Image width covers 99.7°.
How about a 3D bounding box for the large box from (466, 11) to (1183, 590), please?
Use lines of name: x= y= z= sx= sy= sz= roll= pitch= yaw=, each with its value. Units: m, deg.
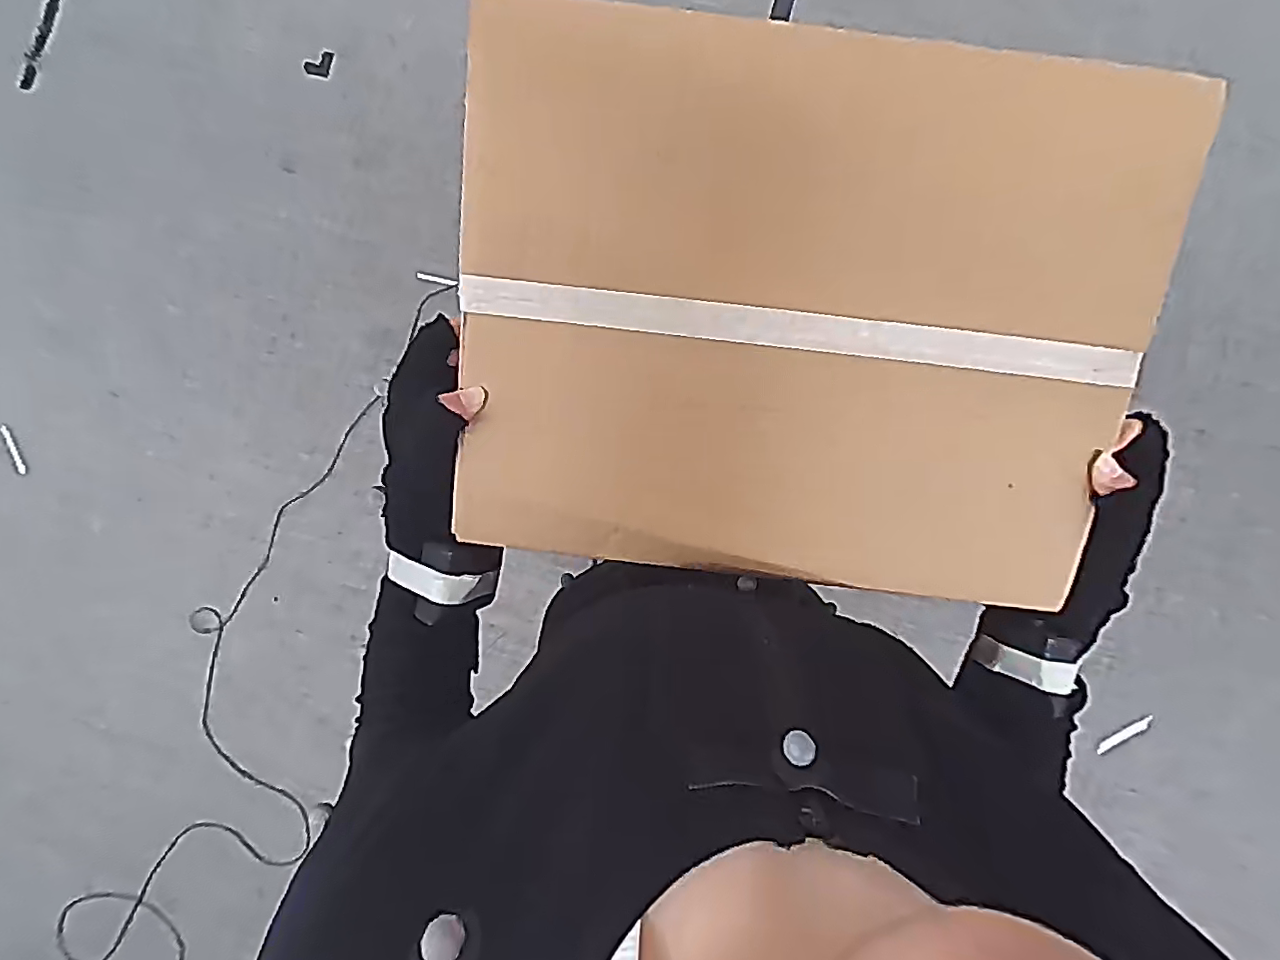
large box: x=0.094 y=-0.124 z=0.478 sx=0.408 sy=0.320 sz=0.320 roll=7 pitch=104 yaw=-1
